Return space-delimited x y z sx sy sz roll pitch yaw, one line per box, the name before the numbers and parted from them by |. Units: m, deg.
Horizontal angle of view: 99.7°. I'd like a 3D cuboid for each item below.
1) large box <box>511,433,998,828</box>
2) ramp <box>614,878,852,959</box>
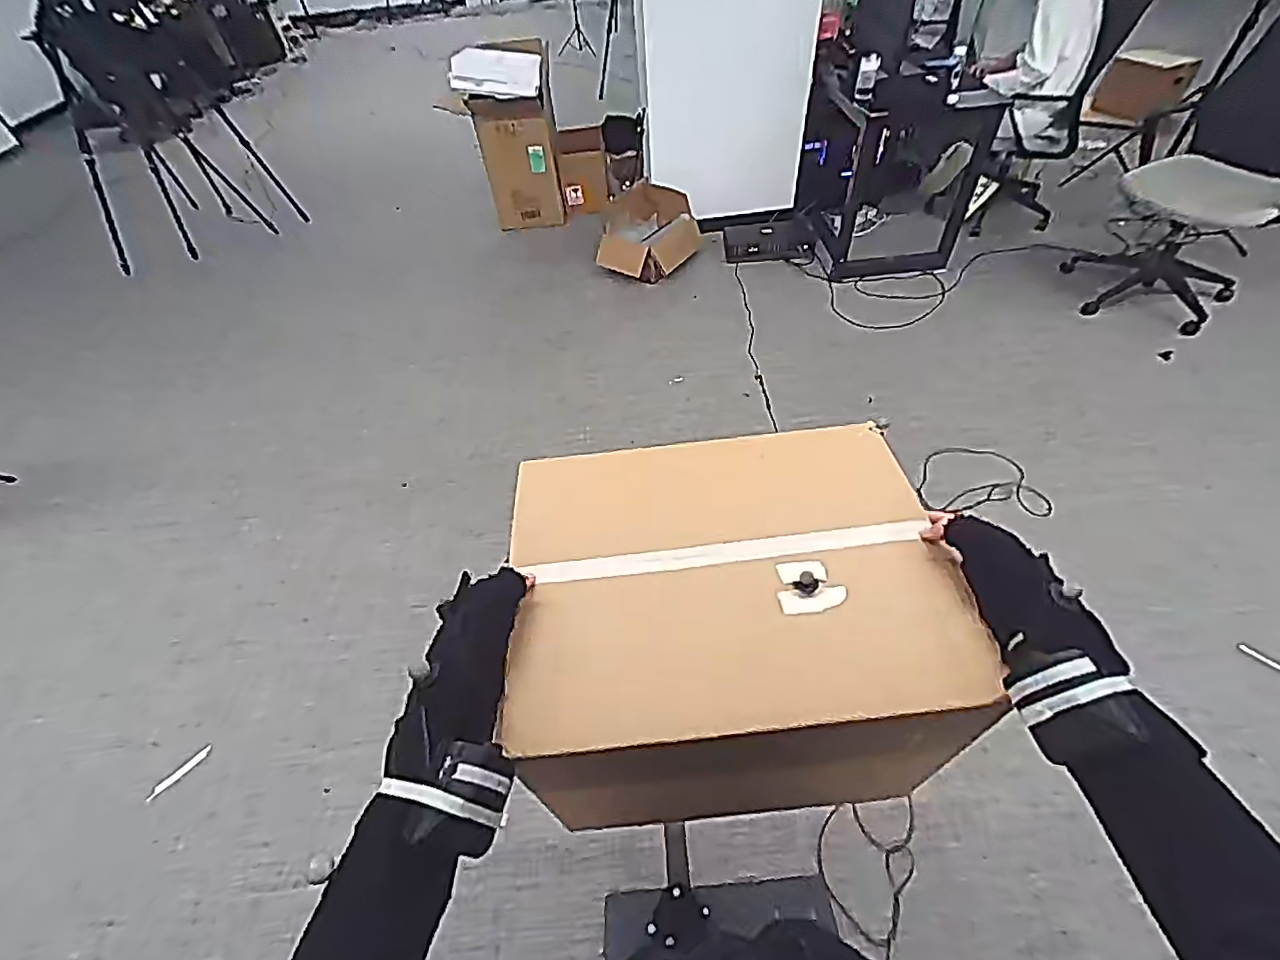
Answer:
large box | 0.088 0.180 0.637 0.408 0.320 0.320 -7 48 0
ramp | 0.207 1.228 0.825 0.509 0.206 0.991 -8 49 1
